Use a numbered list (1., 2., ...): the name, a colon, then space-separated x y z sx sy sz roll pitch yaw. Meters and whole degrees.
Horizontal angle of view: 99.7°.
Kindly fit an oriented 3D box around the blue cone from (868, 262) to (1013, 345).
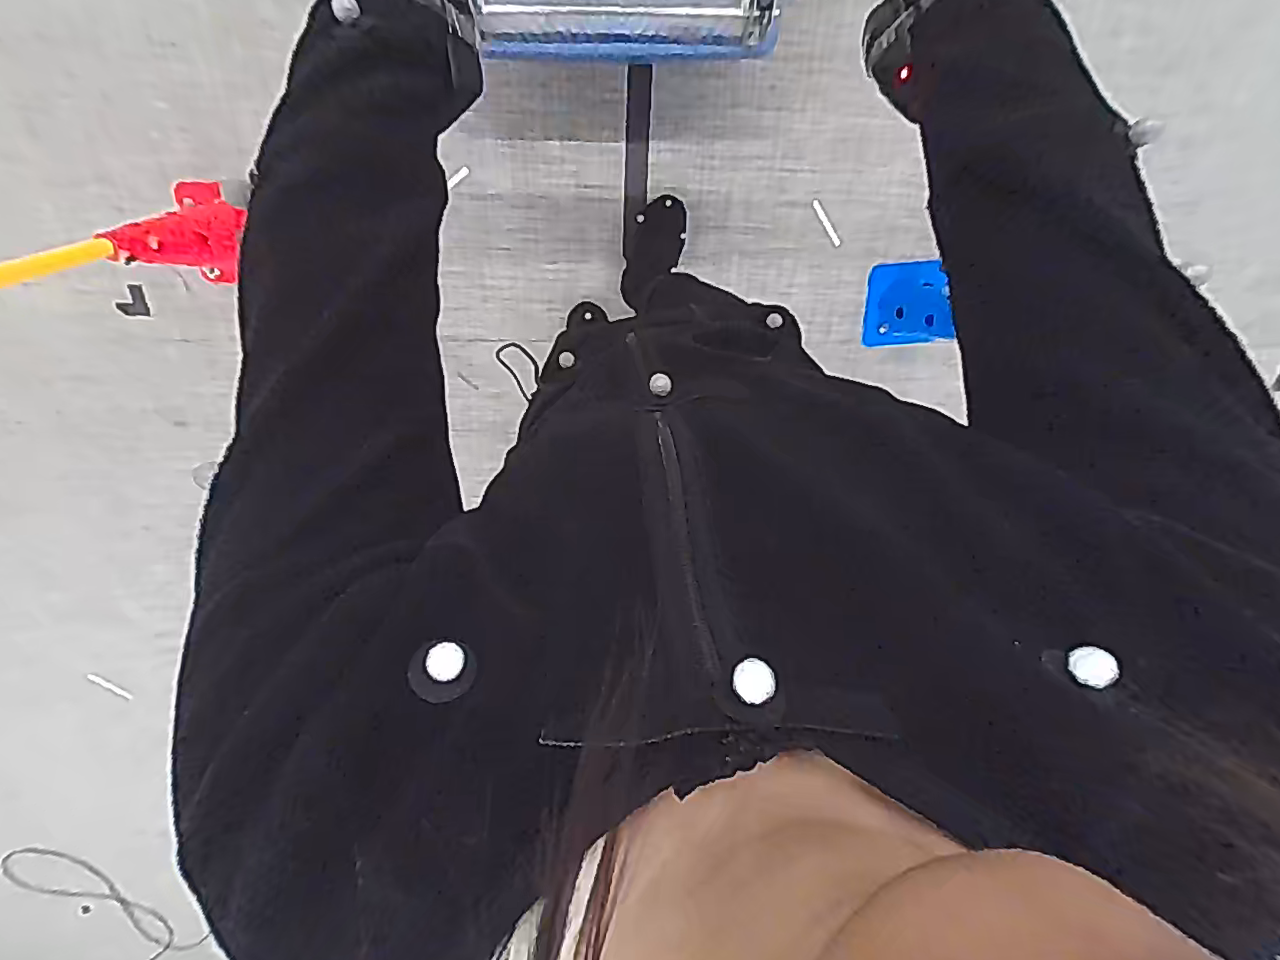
1. blue cone: 0.678 -0.365 1.196 0.193 0.380 0.192 -4 116 -3
